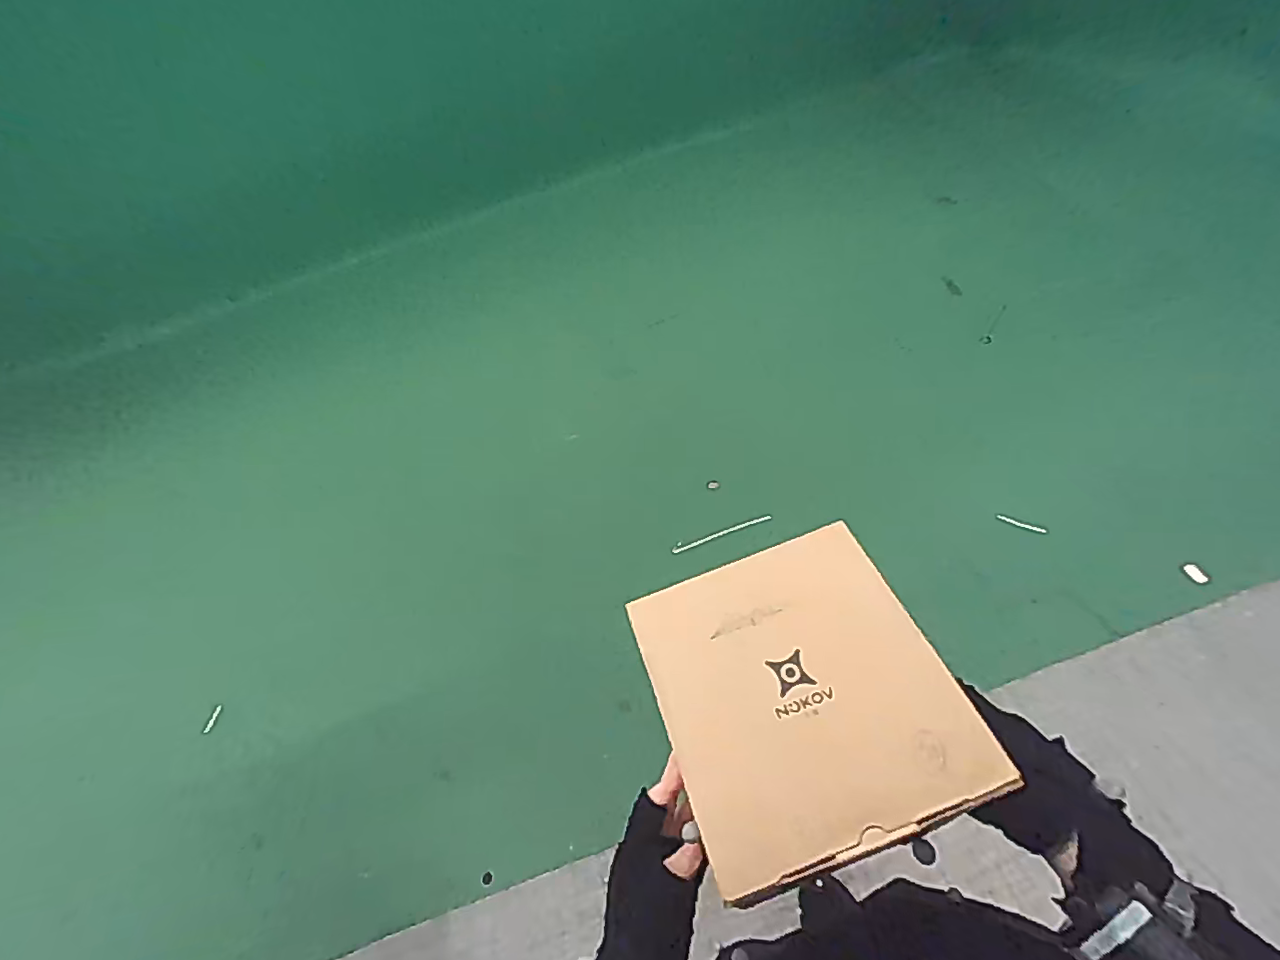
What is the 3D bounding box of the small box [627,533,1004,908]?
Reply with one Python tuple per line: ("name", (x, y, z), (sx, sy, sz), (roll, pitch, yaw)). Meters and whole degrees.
("small box", (0.105, 0.174, 0.390), (0.168, 0.176, 0.179), (-20, 50, -3))
